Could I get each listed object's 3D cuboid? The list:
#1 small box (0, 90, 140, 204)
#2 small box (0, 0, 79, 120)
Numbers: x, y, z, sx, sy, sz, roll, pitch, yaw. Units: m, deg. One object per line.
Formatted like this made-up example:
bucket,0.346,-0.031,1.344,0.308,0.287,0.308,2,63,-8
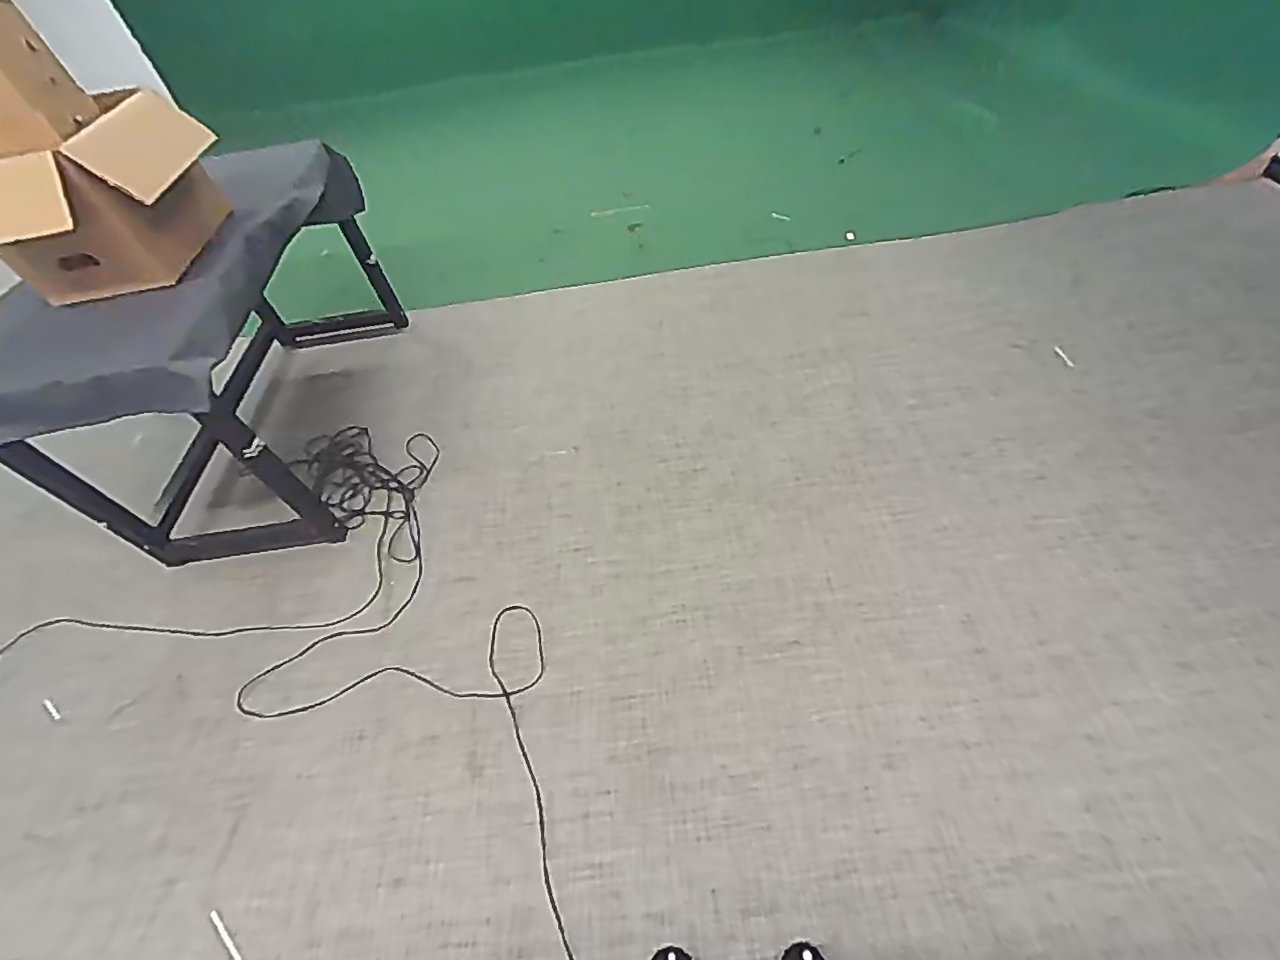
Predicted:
small box,-1.328,-0.769,1.251,0.168,0.176,0.179,-9,51,1
small box,-1.355,-0.867,1.125,0.179,0.176,0.168,-9,50,3
